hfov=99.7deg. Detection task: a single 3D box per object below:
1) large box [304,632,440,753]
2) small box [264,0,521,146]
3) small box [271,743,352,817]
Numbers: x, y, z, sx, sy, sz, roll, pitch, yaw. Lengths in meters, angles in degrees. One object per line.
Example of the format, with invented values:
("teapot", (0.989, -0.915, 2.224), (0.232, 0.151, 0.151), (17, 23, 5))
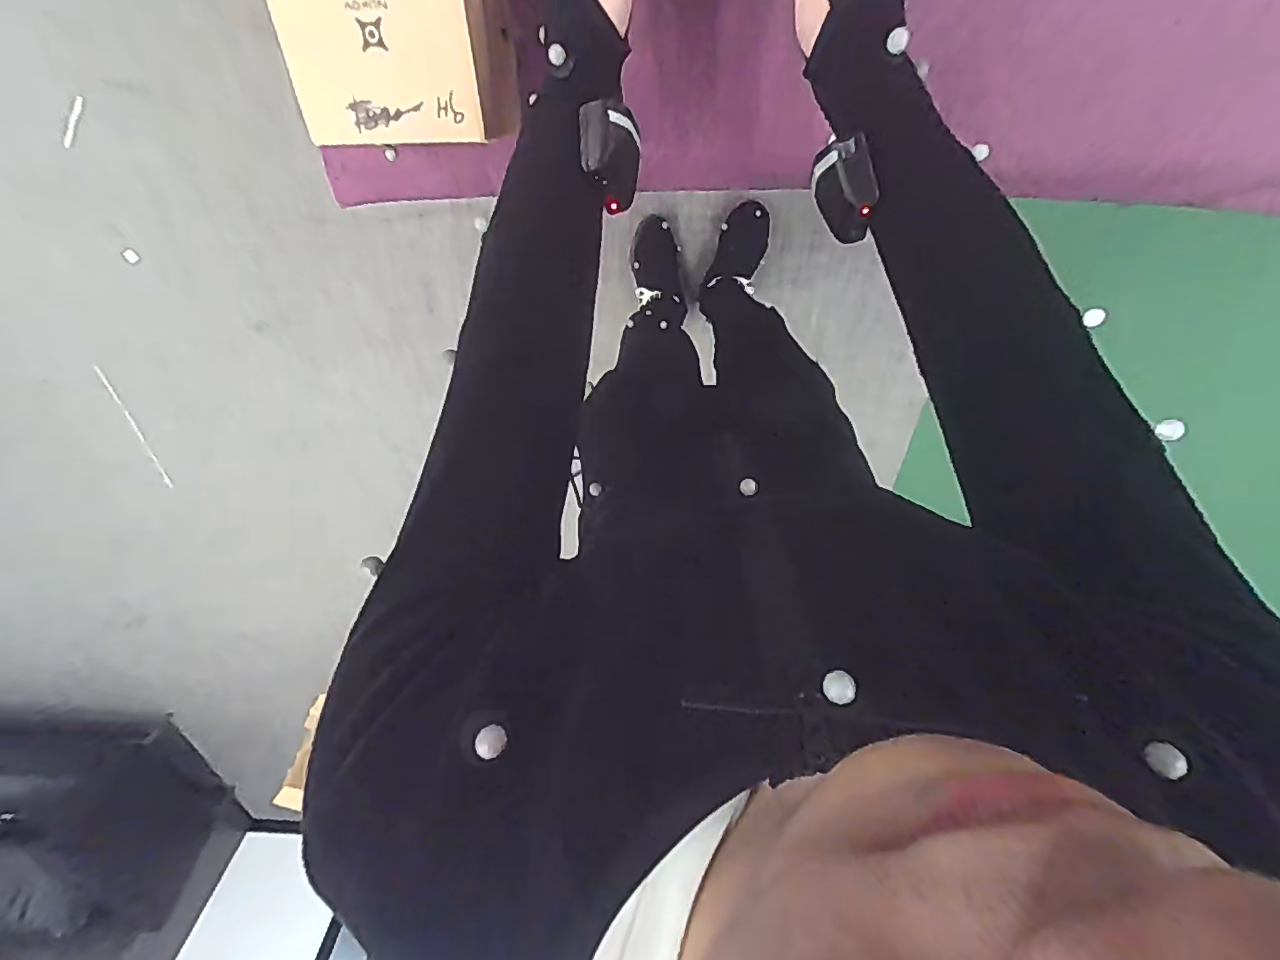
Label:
("large box", (-1.161, 0.927, 2.367), (0.408, 0.320, 0.320), (28, 124, -18))
("small box", (-0.219, -0.420, 0.508), (0.168, 0.176, 0.179), (2, 124, 3))
("small box", (-1.201, 1.097, 1.987), (0.179, 0.176, 0.168), (32, 121, -20))
